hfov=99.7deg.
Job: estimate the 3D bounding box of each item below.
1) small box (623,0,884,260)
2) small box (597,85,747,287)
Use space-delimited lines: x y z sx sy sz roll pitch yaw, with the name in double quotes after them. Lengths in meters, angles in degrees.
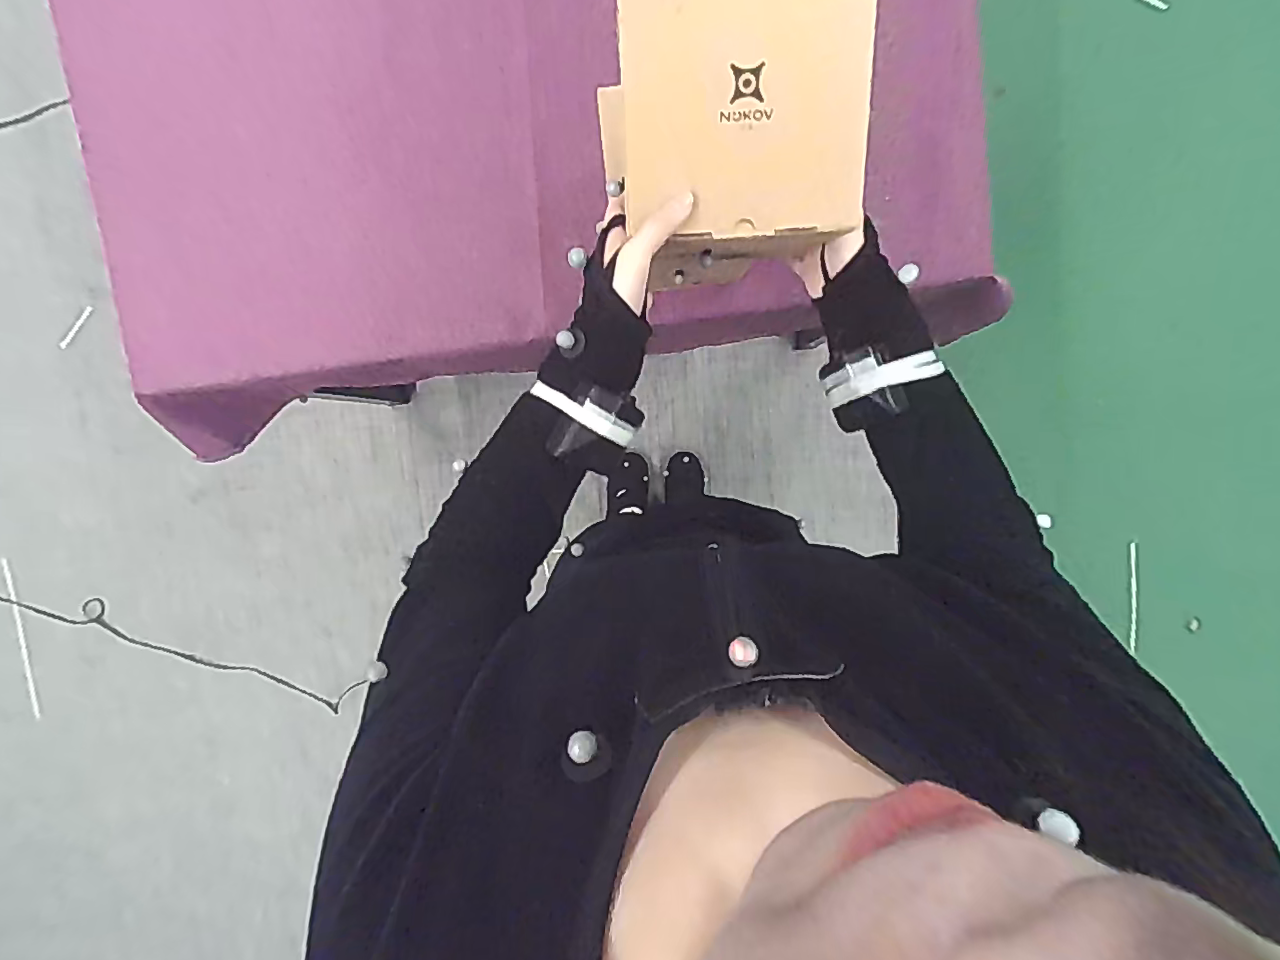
0.072 -0.279 0.430 0.168 0.176 0.179 -3 109 1 "small box"
0.044 -0.342 0.652 0.168 0.176 0.179 -6 95 1 "small box"
